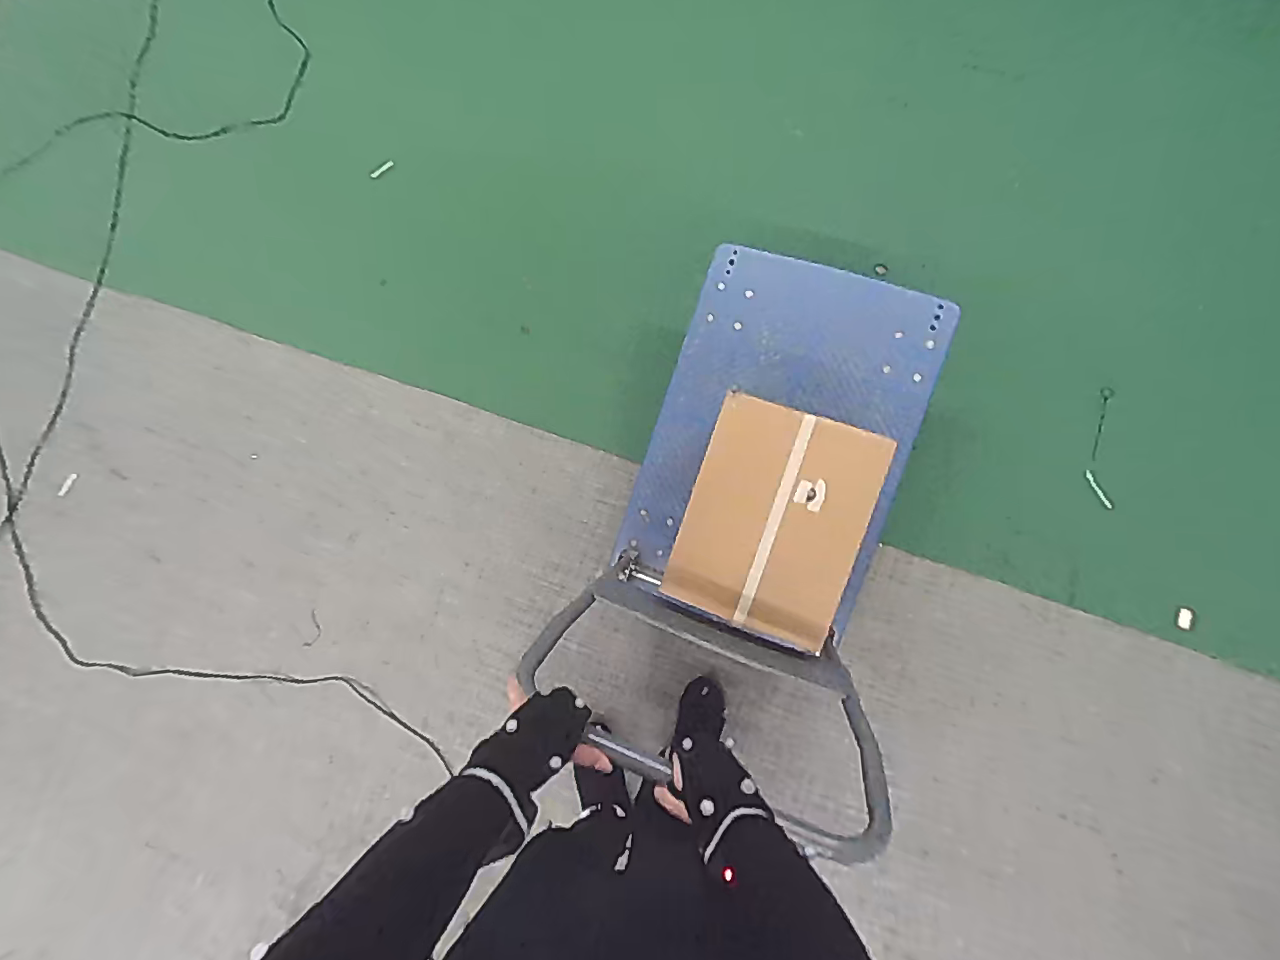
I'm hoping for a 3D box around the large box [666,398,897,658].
[{"bbox_3d":[0.277,0.089,1.123,0.320,0.320,0.408,19,92,10],"label":"large box"}]
